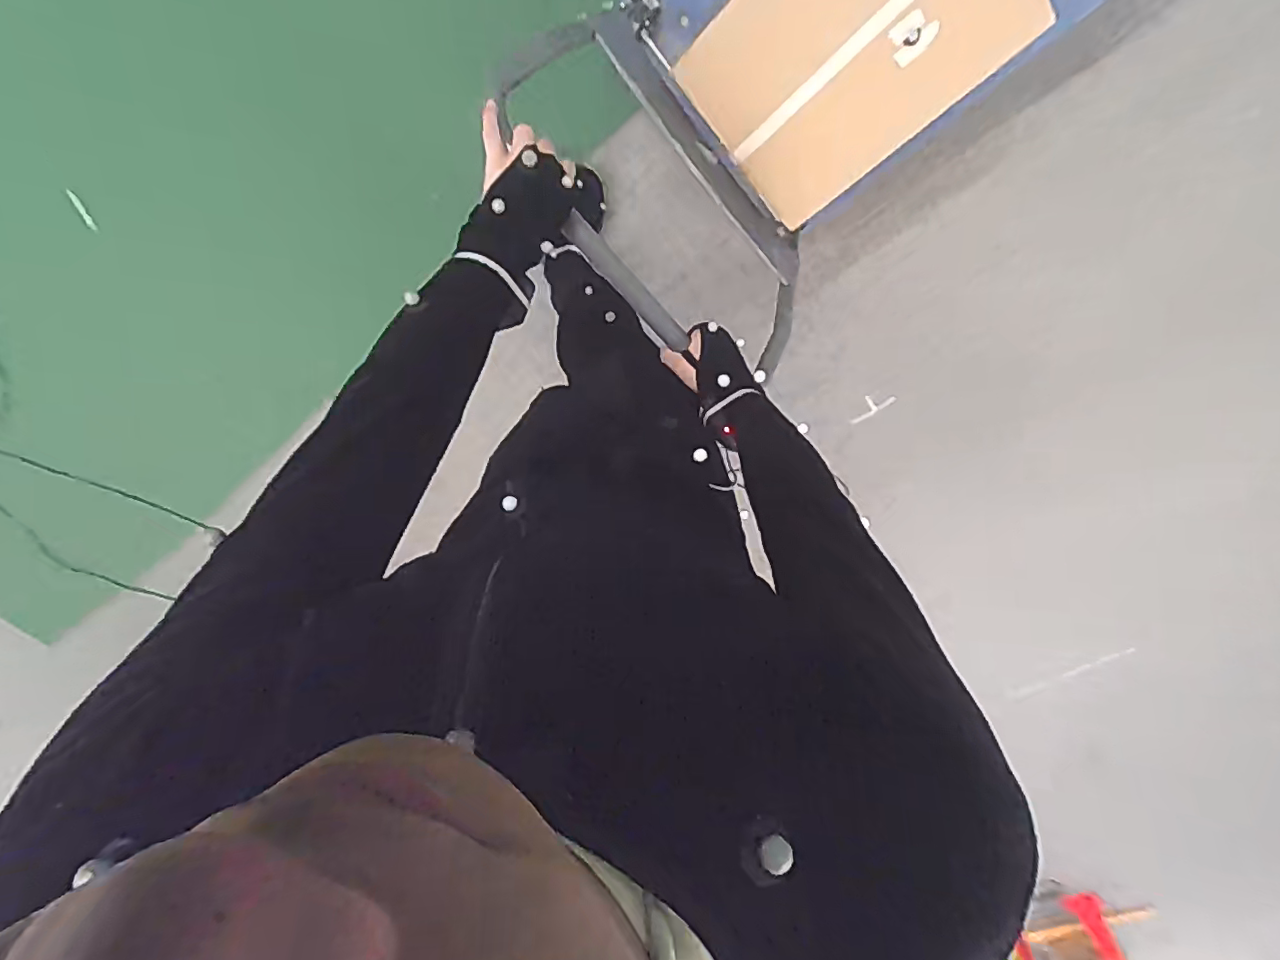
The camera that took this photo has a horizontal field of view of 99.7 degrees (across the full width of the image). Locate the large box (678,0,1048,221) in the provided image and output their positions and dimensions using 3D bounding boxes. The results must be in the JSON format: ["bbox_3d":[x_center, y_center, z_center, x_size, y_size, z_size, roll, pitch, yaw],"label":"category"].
[{"bbox_3d":[0.323,-0.716,0.870,0.408,0.320,0.320,-31,118,34],"label":"large box"}]
